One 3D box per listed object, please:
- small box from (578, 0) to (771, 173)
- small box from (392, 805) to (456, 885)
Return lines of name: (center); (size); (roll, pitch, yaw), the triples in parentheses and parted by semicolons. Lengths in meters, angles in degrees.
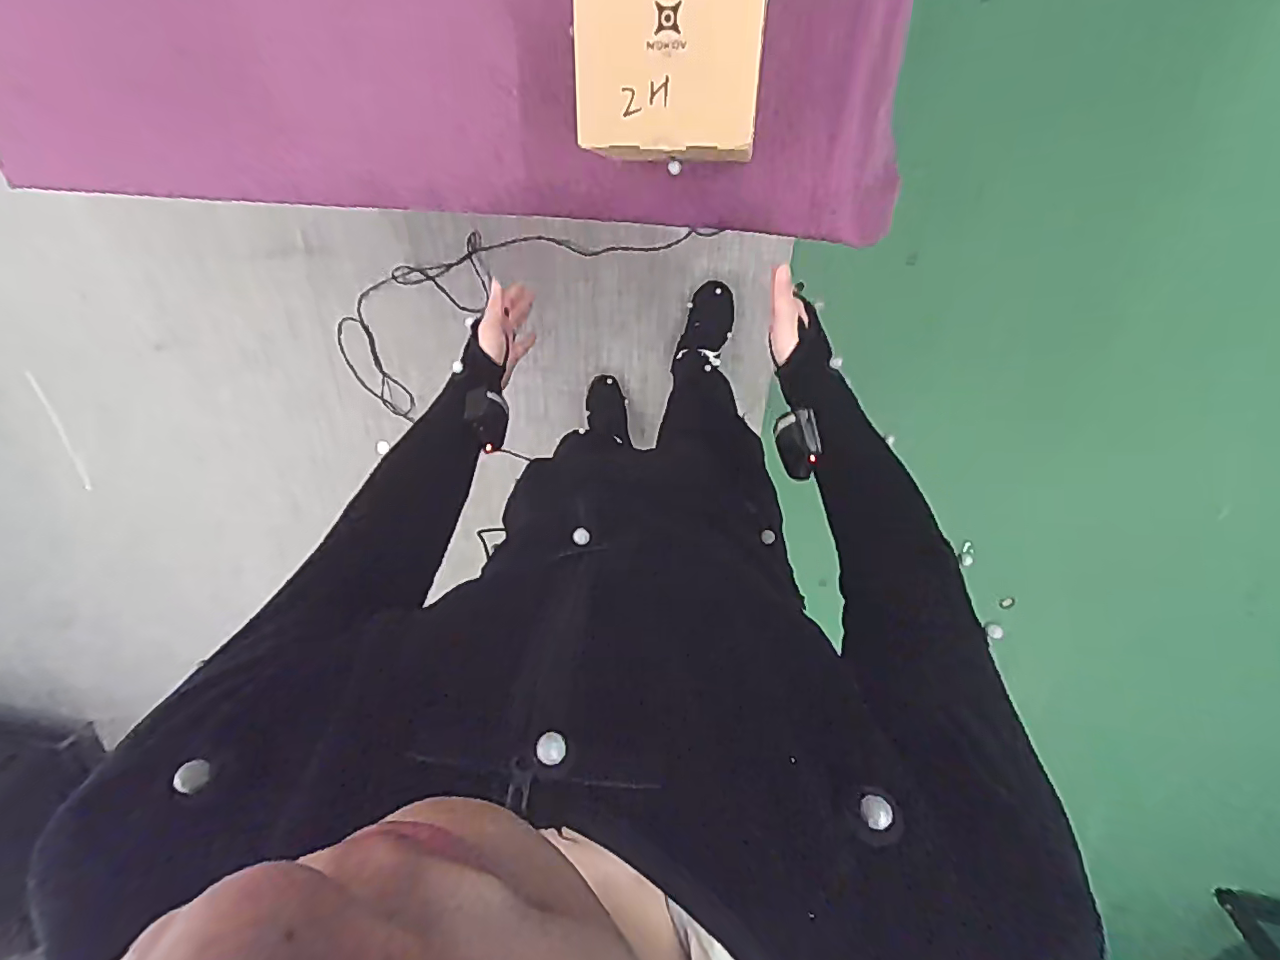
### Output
small box: (0.038, -0.414, 0.541); (0.168, 0.176, 0.179); (6, 119, 7)
small box: (-0.794, 1.349, 2.002); (0.168, 0.176, 0.179); (12, 118, 2)
